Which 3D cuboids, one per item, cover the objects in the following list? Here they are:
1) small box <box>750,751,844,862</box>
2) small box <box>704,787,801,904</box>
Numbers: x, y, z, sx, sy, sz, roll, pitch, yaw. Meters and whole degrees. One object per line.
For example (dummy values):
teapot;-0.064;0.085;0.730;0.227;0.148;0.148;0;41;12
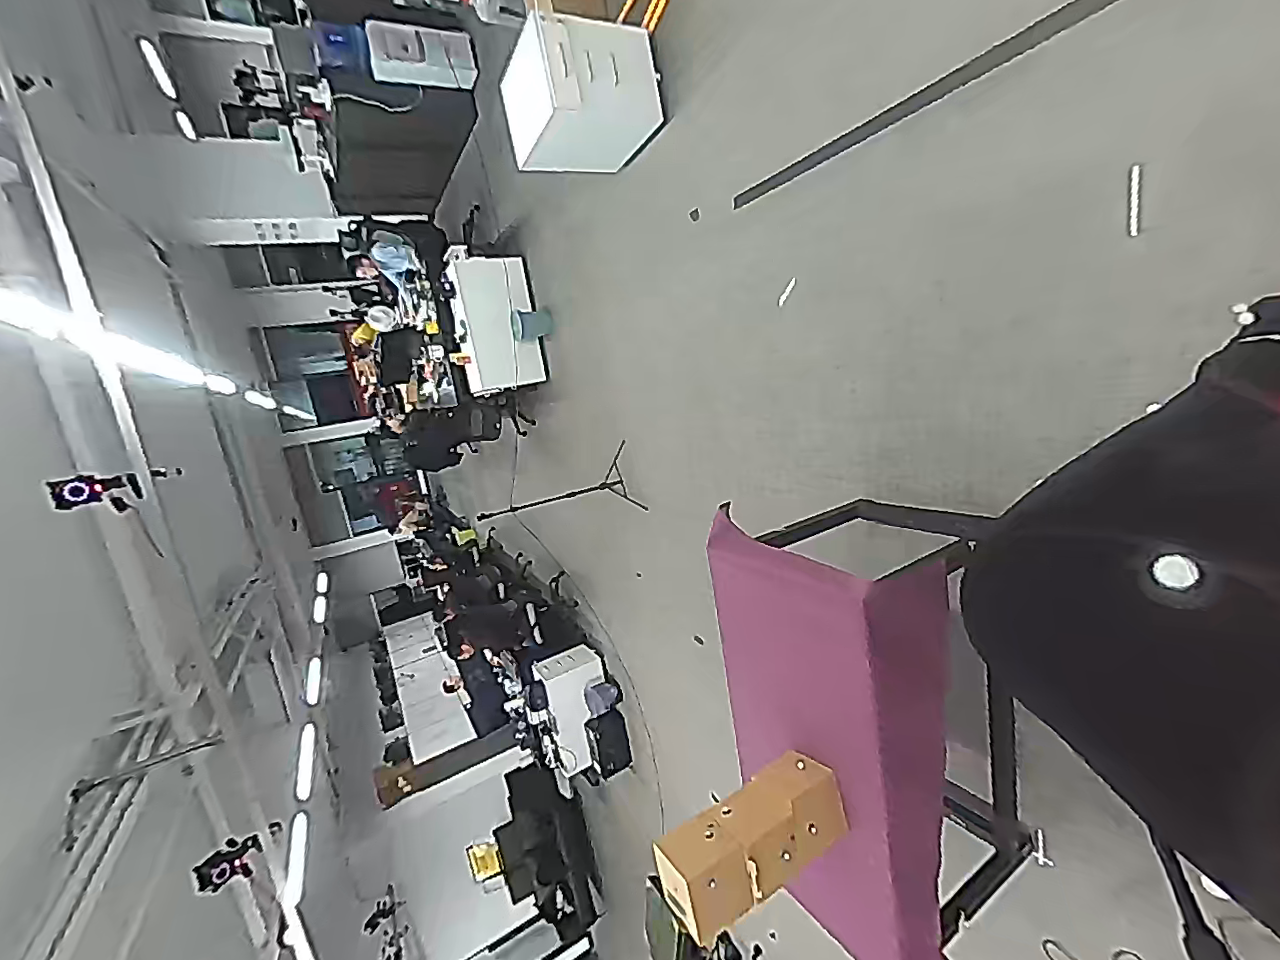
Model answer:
small box;0.441;0.901;1.510;0.168;0.176;0.179;-11;93;62
small box;0.300;0.960;1.444;0.179;0.176;0.168;0;104;62
